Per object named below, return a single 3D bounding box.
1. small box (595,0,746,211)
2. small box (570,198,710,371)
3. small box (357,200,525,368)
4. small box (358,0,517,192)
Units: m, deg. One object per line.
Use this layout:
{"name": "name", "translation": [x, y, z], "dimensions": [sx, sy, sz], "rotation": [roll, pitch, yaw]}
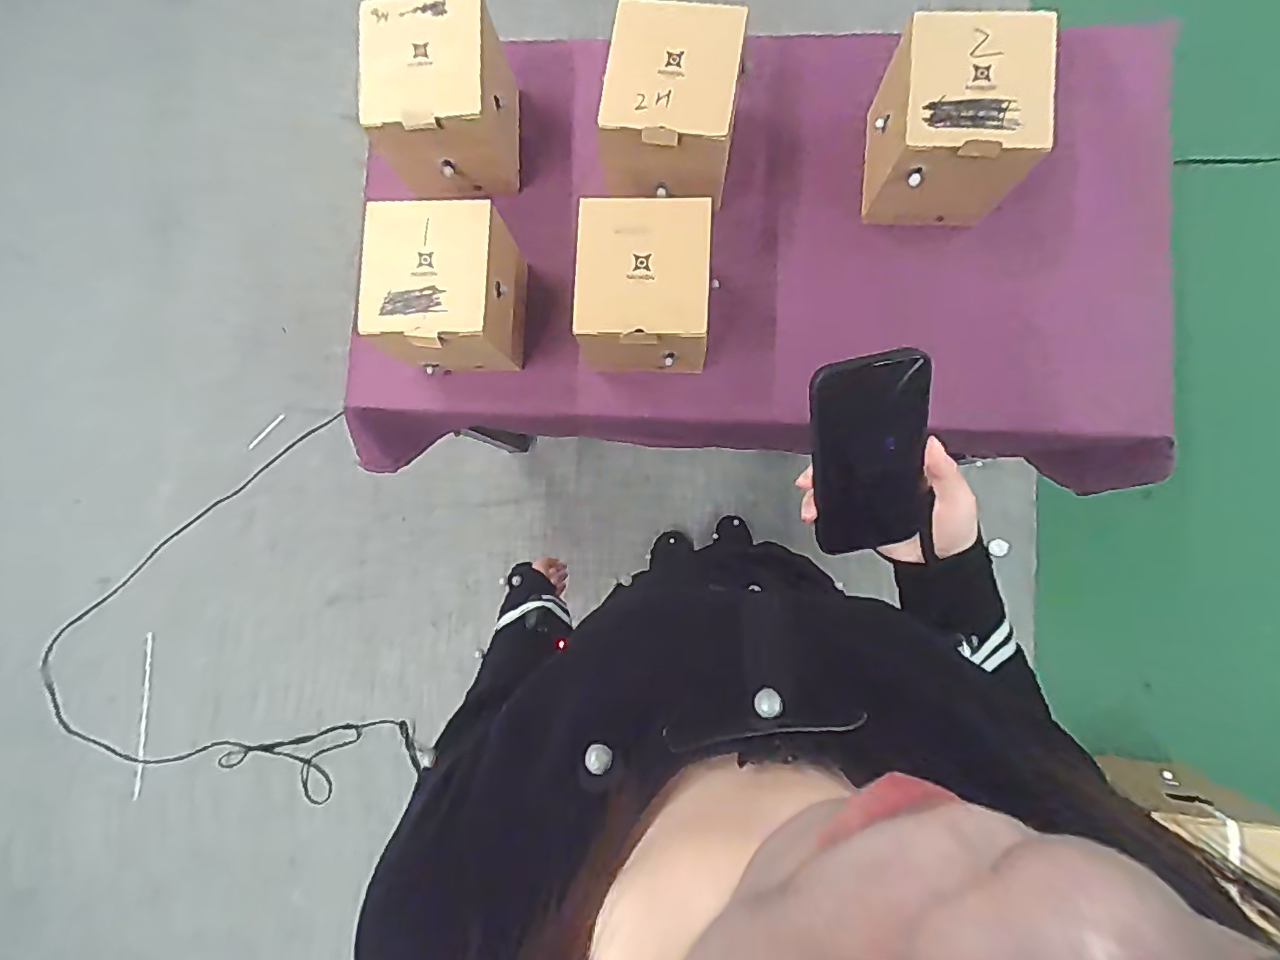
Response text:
{"name": "small box", "translation": [0.044, -0.508, 0.751], "dimensions": [0.168, 0.176, 0.179], "rotation": [9, 87, 6]}
{"name": "small box", "translation": [0.007, -0.254, 0.738], "dimensions": [0.168, 0.176, 0.179], "rotation": [3, 85, 4]}
{"name": "small box", "translation": [-0.267, -0.262, 0.760], "dimensions": [0.168, 0.176, 0.179], "rotation": [1, 85, 4]}
{"name": "small box", "translation": [-0.280, -0.540, 0.781], "dimensions": [0.168, 0.176, 0.179], "rotation": [-2, 87, 4]}
